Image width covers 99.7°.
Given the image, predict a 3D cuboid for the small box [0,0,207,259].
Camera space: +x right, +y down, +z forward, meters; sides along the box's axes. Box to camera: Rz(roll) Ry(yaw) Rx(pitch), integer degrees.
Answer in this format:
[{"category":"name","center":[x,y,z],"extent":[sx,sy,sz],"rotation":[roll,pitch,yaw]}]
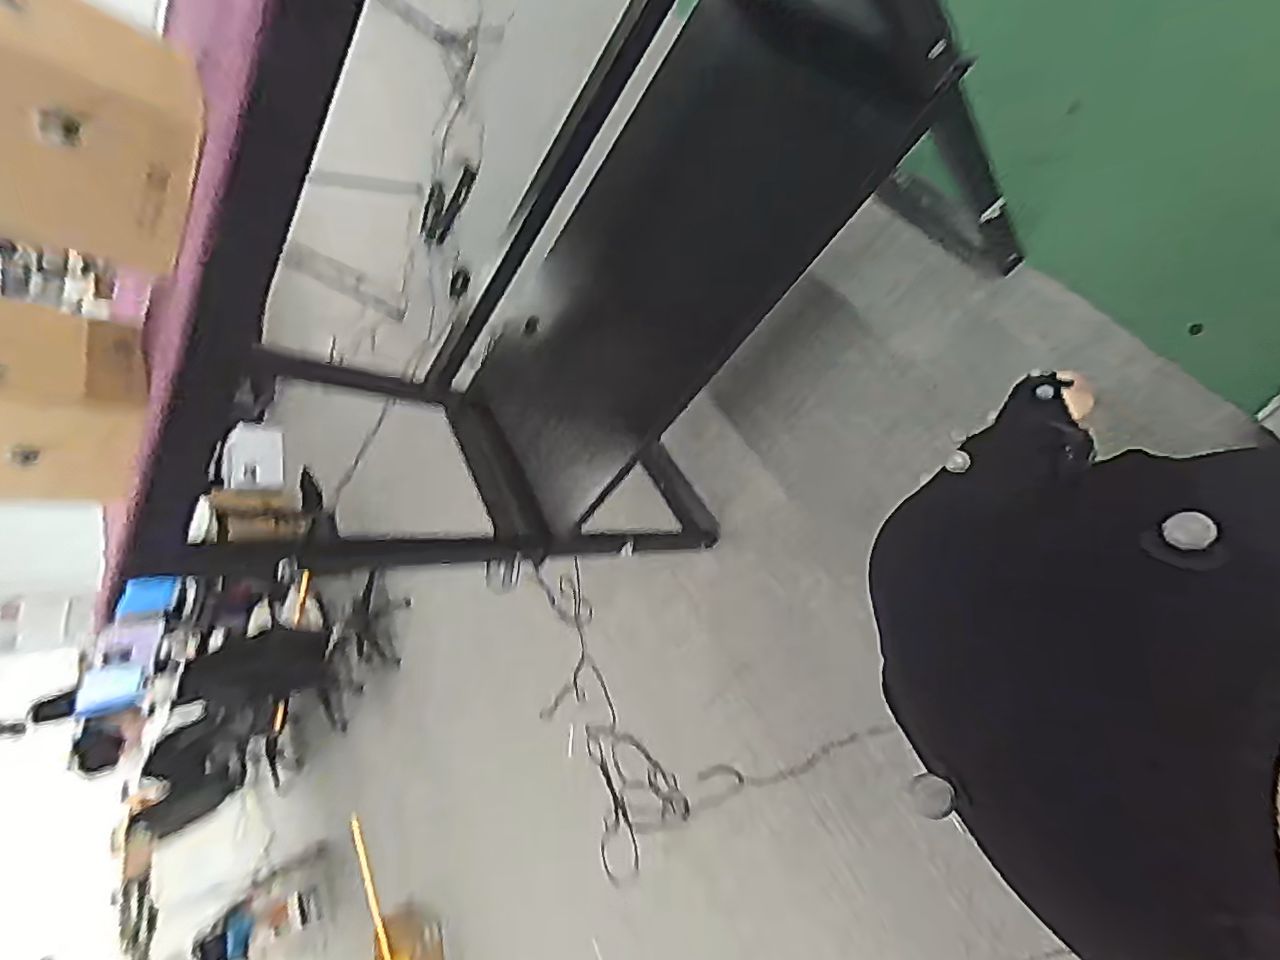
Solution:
[{"category":"small box","center":[-0.519,-0.332,0.493],"extent":[0.168,0.176,0.179],"rotation":[-46,58,28]}]
